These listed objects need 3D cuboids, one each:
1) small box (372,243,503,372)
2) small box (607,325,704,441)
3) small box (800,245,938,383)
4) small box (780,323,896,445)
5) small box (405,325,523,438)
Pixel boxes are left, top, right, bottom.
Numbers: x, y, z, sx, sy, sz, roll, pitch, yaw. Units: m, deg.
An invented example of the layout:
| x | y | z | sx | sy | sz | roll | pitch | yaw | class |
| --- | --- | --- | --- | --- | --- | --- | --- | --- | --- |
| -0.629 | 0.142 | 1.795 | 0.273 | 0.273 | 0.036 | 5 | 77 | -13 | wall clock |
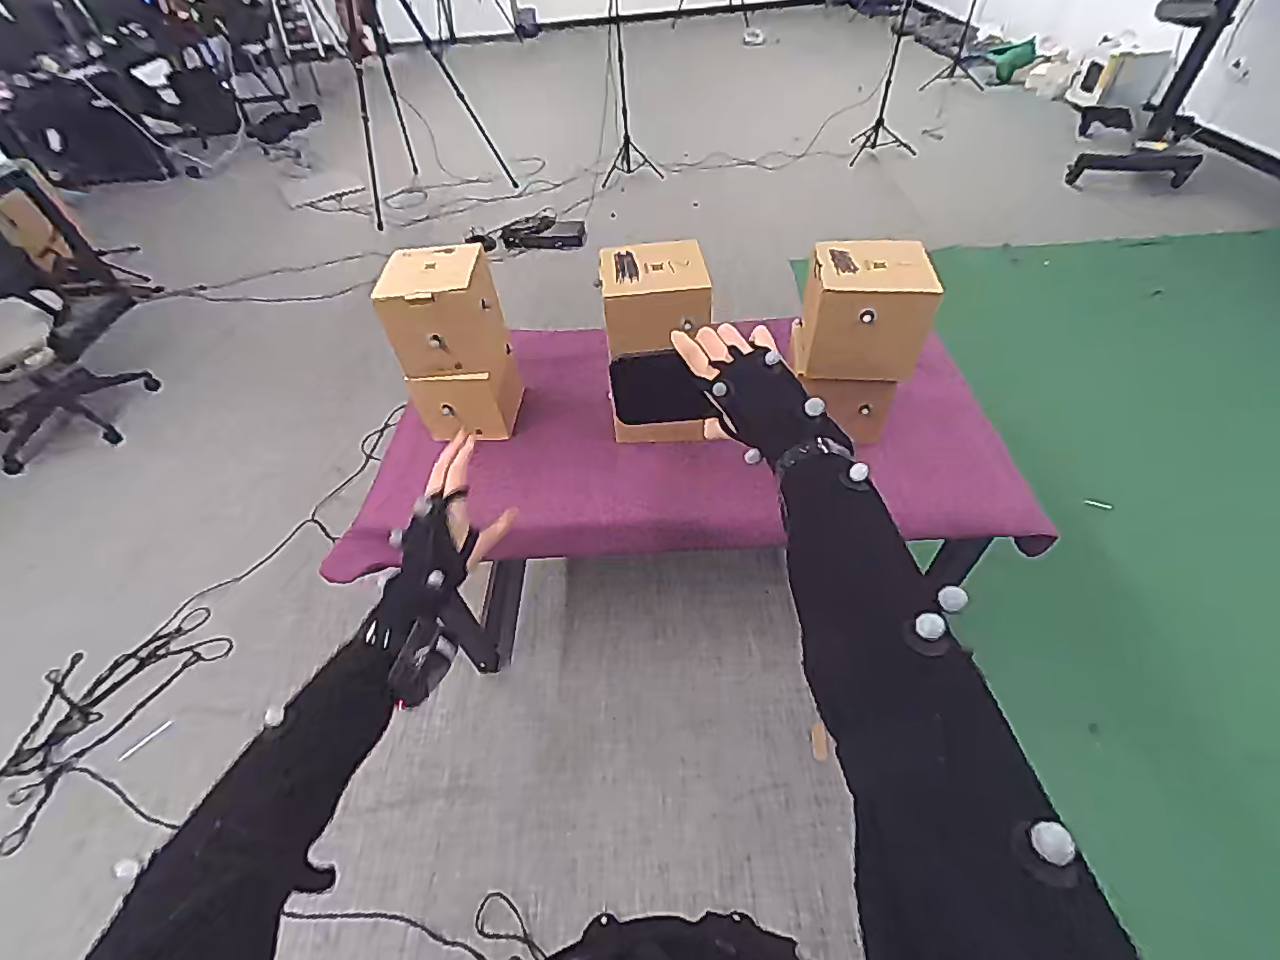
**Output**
| x | y | z | sx | sy | sz | roll | pitch | yaw | class |
| --- | --- | --- | --- | --- | --- | --- | --- | --- | --- |
| -0.364 | -0.316 | 1.010 | 0.168 | 0.176 | 0.179 | -4 | 49 | 1 | small box |
| 0.035 | -0.191 | 1.085 | 0.179 | 0.176 | 0.168 | -1 | 49 | 4 | small box |
| 0.372 | -0.280 | 0.919 | 0.179 | 0.176 | 0.168 | 4 | 49 | 8 | small box |
| 0.374 | -0.184 | 1.052 | 0.179 | 0.176 | 0.168 | 4 | 49 | 8 | small box |
| -0.354 | -0.201 | 1.127 | 0.168 | 0.176 | 0.179 | 0 | 49 | 4 | small box |
